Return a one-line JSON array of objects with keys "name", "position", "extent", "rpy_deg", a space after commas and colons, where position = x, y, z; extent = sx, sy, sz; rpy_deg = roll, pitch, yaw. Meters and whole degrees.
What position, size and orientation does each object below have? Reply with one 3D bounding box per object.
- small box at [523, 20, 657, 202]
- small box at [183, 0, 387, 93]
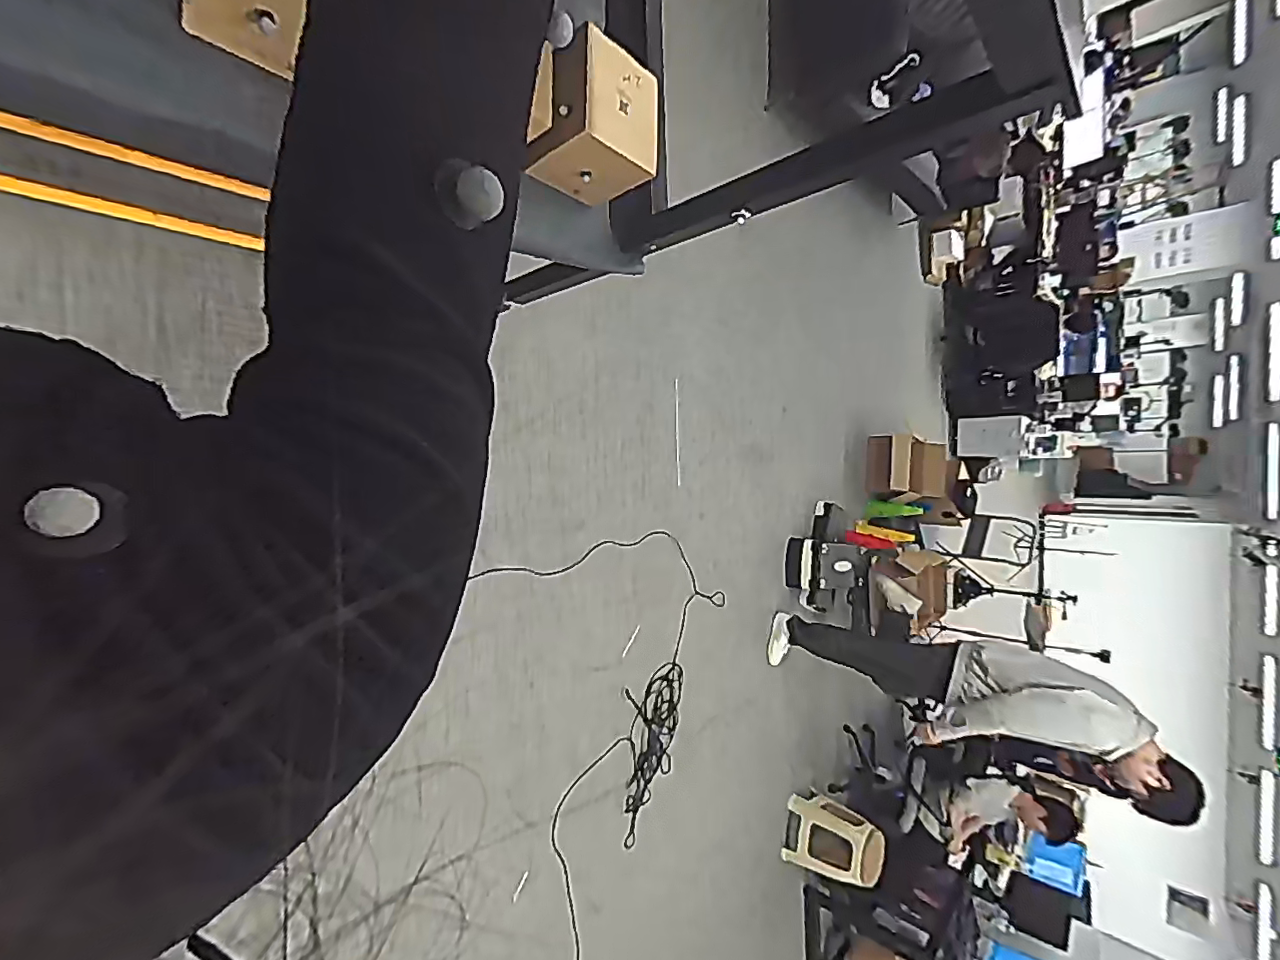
[{"name": "small box", "position": [-0.089, -0.618, 0.939], "extent": [0.168, 0.176, 0.179], "rpy_deg": [2, 89, -47]}, {"name": "small box", "position": [-0.400, -0.592, 0.611], "extent": [0.168, 0.176, 0.179], "rpy_deg": [0, 90, -47]}]
